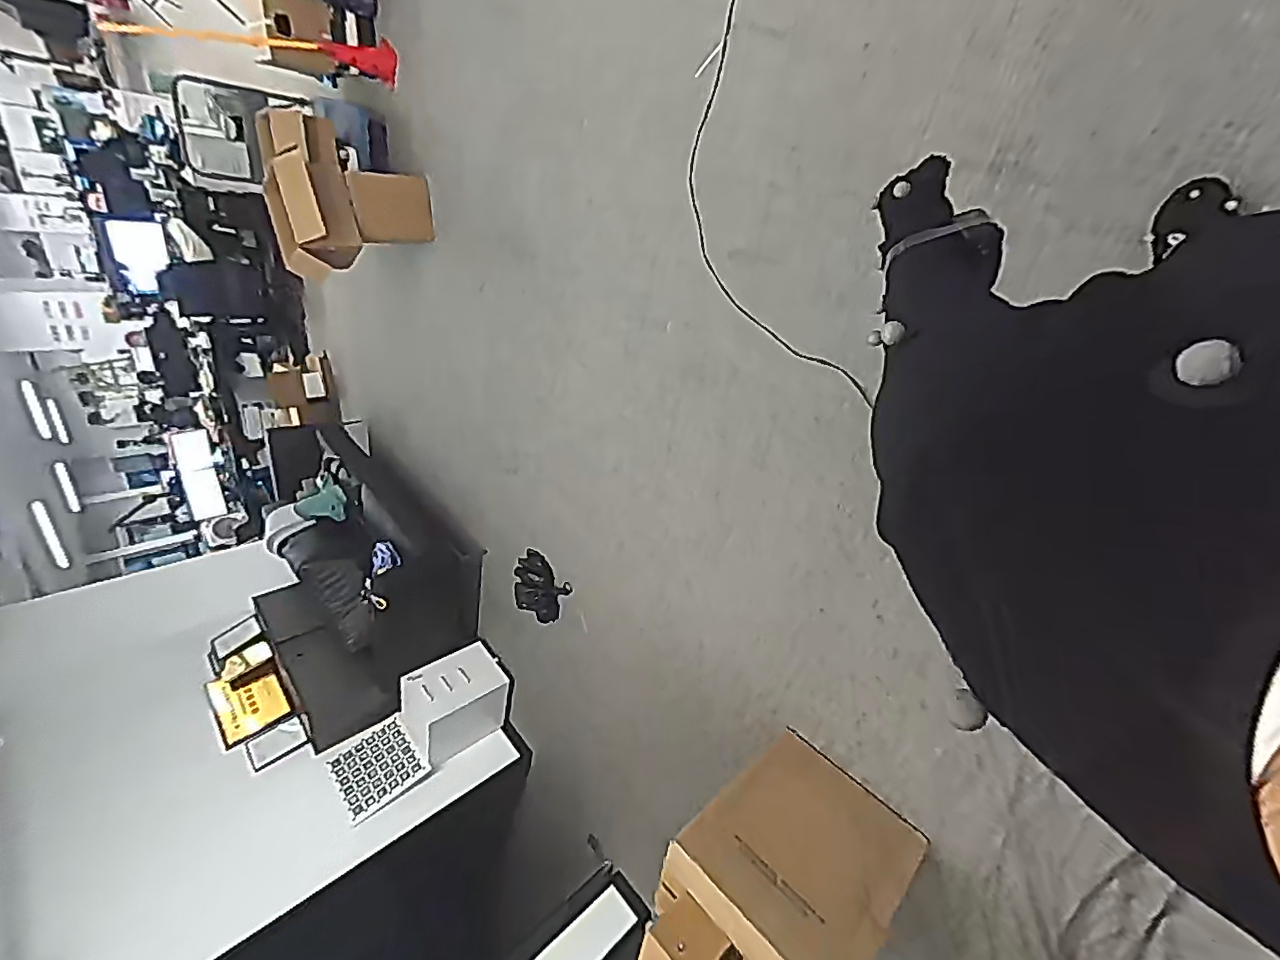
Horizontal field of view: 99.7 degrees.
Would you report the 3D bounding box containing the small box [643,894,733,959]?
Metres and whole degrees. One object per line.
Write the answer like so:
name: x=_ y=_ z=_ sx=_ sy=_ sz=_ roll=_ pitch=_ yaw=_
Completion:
small box: x=0.133 y=1.312 z=1.494 sx=0.179 sy=0.176 sz=0.168 roll=27 pitch=116 yaw=40
